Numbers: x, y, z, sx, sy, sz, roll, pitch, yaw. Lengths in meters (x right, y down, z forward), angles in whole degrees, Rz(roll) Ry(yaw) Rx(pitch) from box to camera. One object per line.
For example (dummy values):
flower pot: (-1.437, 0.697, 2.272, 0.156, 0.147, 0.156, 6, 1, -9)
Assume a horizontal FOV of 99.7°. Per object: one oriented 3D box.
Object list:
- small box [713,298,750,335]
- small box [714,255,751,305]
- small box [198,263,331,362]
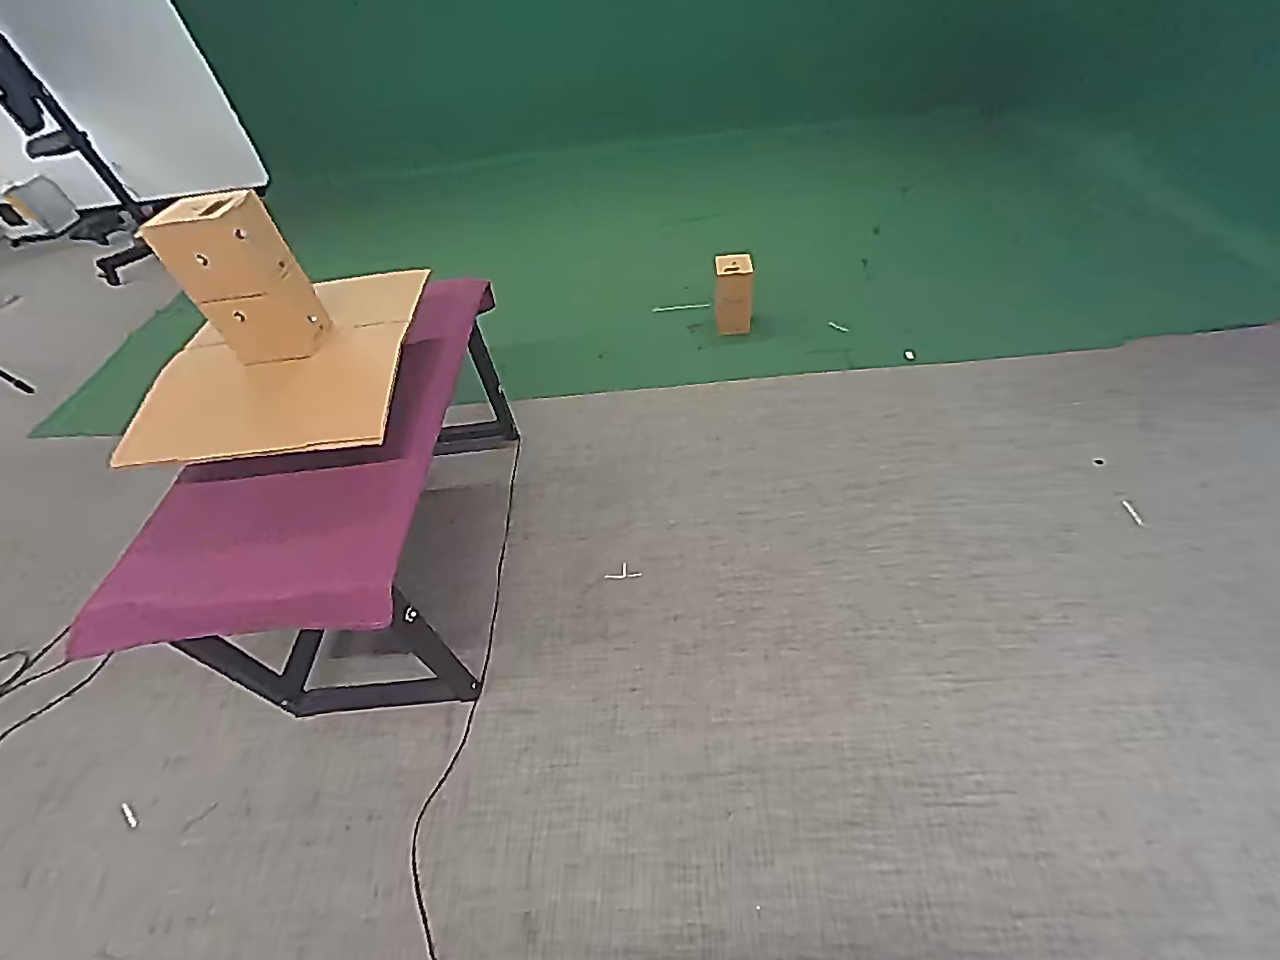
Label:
small box: (0.459, -0.852, 2.729, 0.168, 0.176, 0.179, -3, 50, 4)
small box: (0.444, -0.959, 2.605, 0.168, 0.176, 0.179, -2, 49, 5)
small box: (-0.900, -0.403, 1.318, 0.179, 0.176, 0.168, -6, 47, 2)
